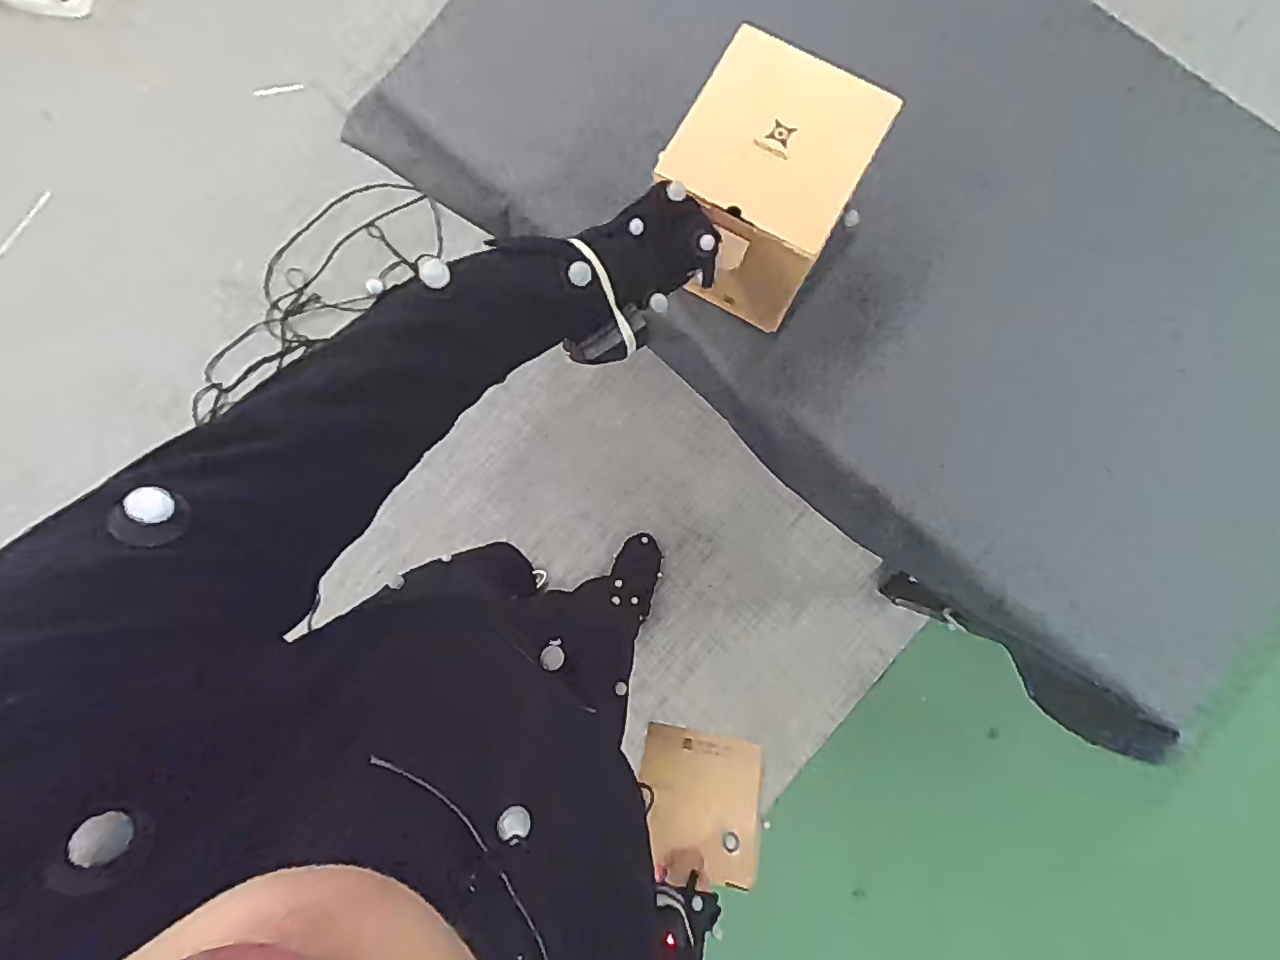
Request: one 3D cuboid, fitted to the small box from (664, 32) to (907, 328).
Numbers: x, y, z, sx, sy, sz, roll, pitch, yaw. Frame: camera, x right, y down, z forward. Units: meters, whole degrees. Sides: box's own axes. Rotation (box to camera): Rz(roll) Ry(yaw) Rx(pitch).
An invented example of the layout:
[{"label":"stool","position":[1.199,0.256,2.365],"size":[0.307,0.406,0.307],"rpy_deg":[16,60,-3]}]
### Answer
[{"label":"small box","position":[0.133,-0.296,0.569],"size":[0.168,0.176,0.179],"rpy_deg":[29,85,3]}]
